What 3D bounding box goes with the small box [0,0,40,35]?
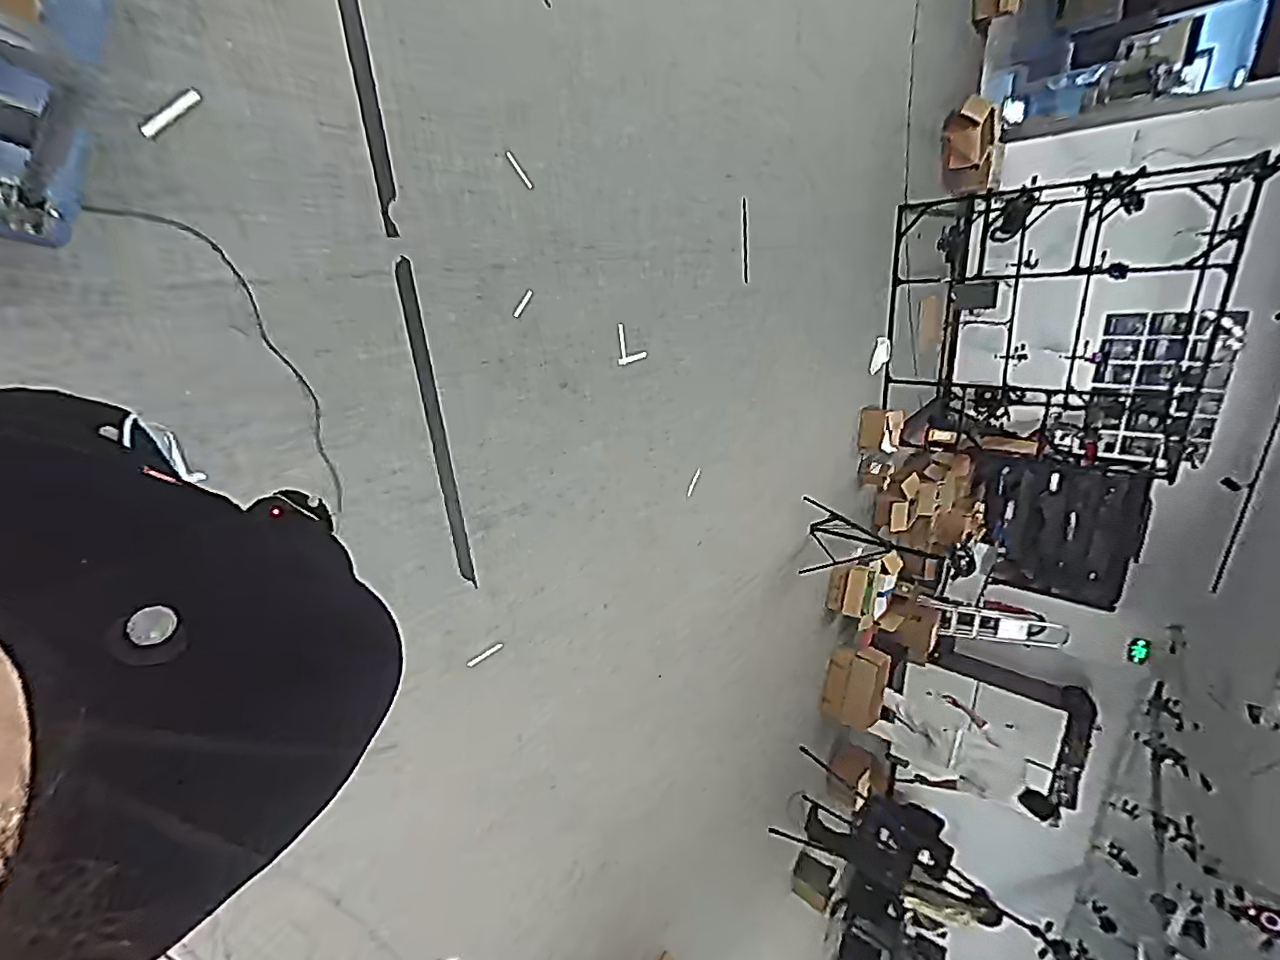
[{"bbox_3d":[-0.890,-0.723,0.687,0.179,0.176,0.168,3,98,-51],"label":"small box"}]
